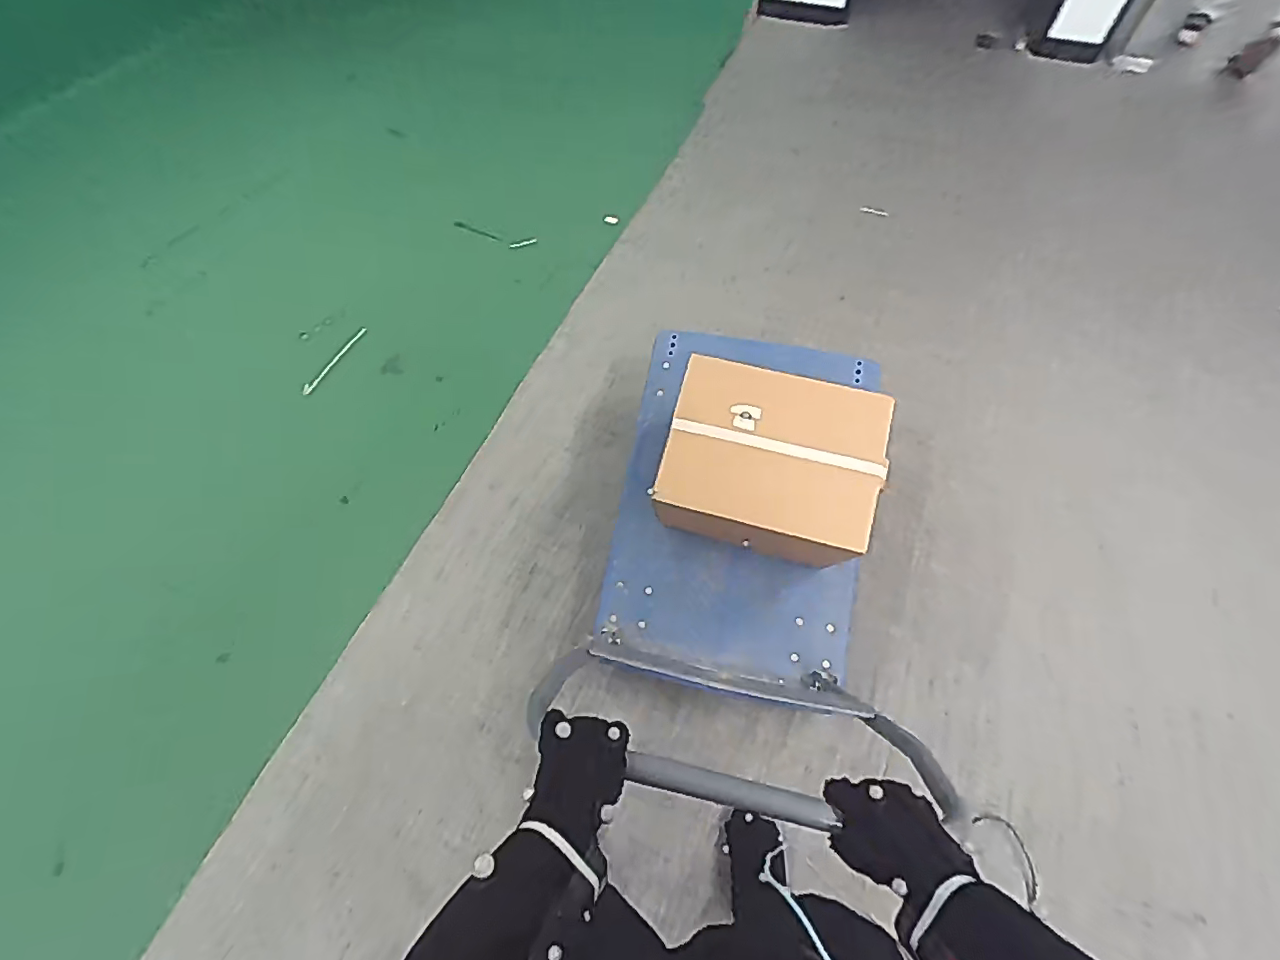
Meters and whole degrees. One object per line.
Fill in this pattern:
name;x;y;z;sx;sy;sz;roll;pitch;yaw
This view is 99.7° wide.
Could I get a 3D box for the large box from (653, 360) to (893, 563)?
large box;0.271;-0.023;1.174;0.408;0.320;0.320;15;78;10
